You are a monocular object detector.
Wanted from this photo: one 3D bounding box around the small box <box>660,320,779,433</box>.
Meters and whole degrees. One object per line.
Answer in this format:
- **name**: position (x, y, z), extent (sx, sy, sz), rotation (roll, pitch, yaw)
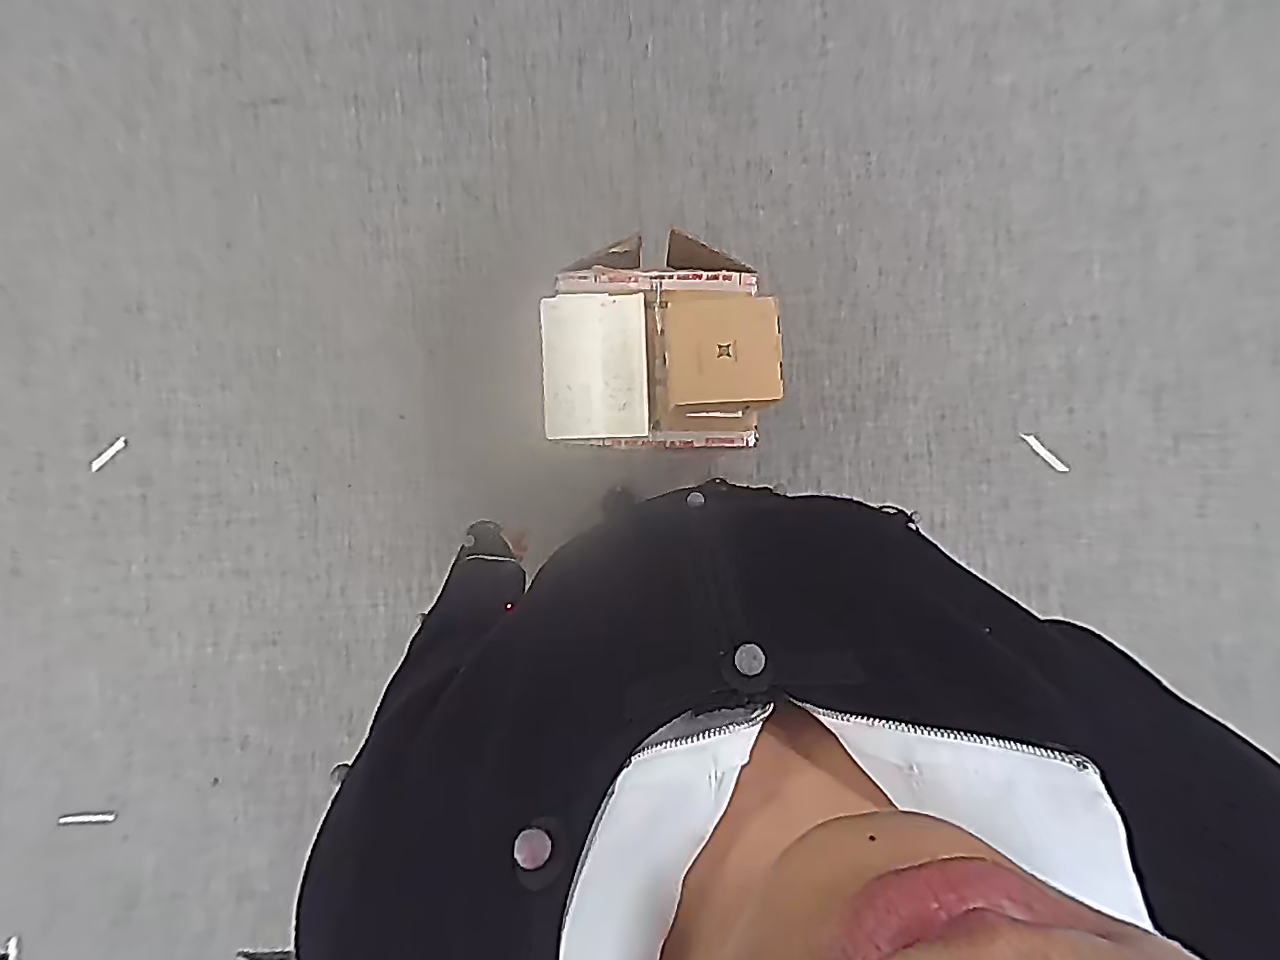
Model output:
- **small box**: position (0.132, -0.174, 0.950), extent (0.179, 0.176, 0.168), rotation (-4, 91, -1)
